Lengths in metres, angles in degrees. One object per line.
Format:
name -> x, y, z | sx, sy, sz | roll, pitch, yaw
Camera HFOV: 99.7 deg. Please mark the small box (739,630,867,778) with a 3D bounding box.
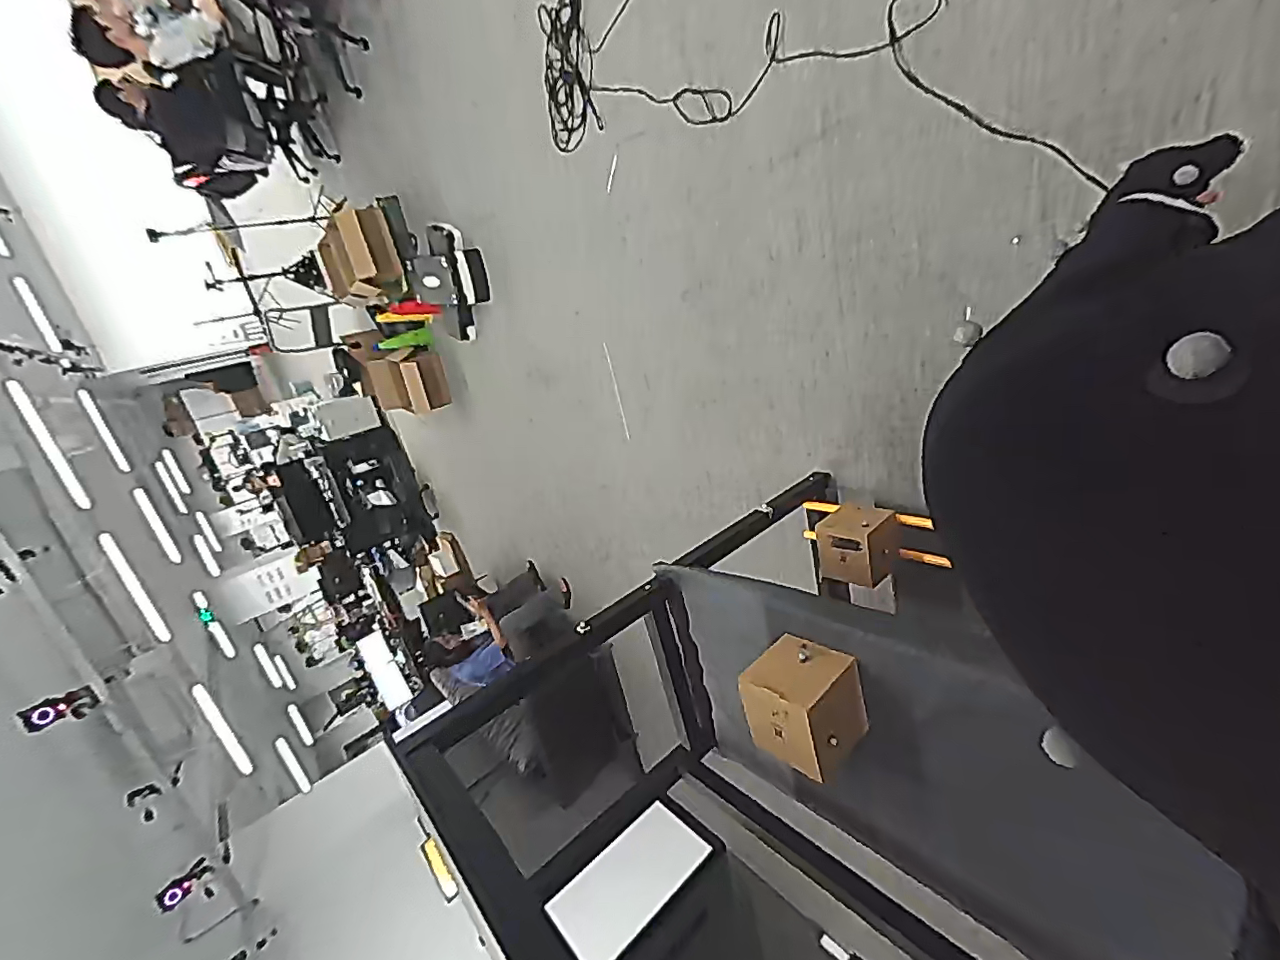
small box -> 0.329, 0.433, 1.074 | 0.168, 0.176, 0.179 | 6, 118, 51
